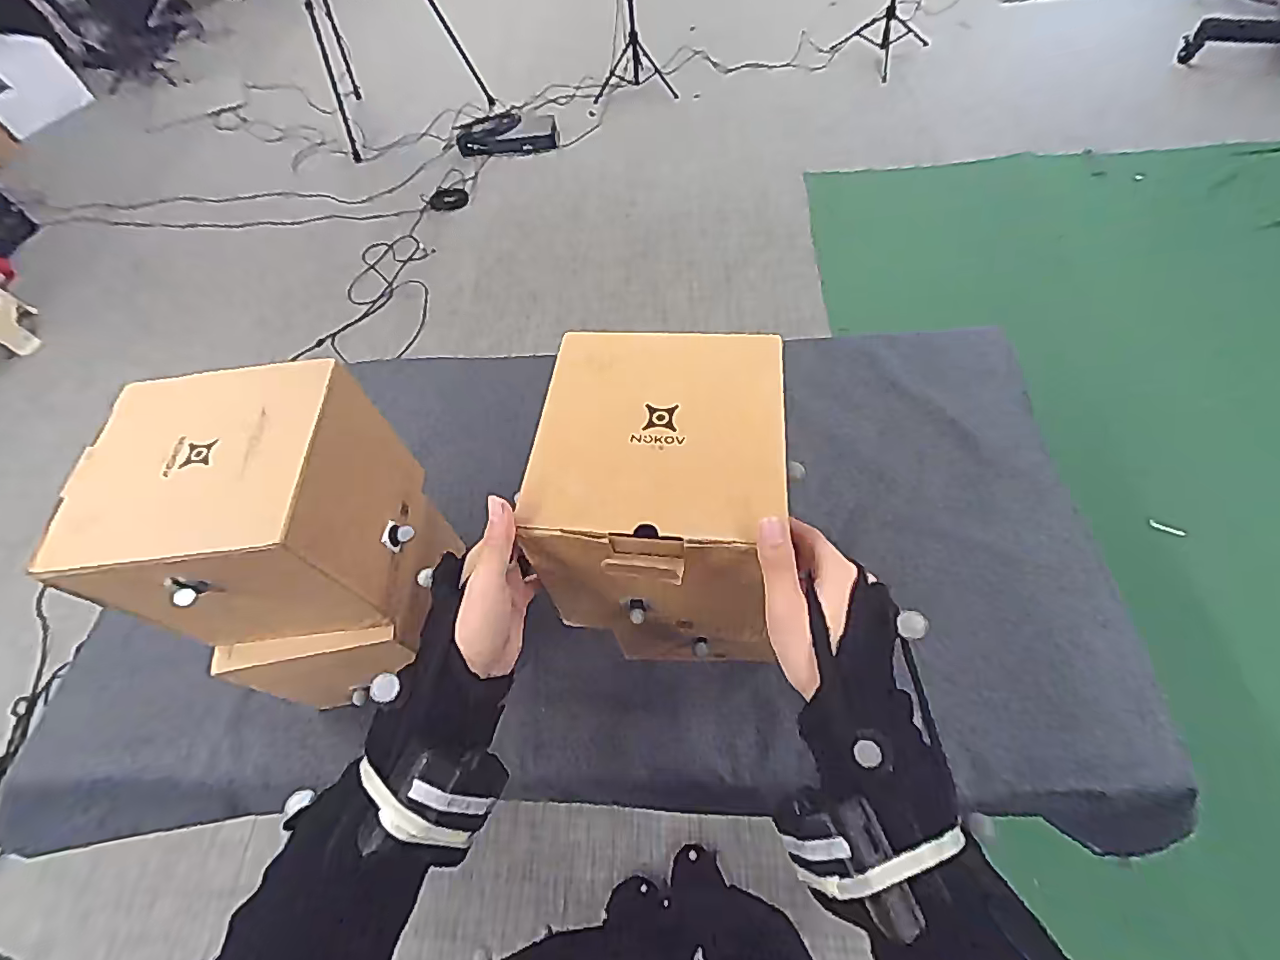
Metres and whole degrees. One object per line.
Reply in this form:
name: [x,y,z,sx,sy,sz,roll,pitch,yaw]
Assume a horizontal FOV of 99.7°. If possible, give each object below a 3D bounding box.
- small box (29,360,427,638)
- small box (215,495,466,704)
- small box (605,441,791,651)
small box: [-0.307,0.025,0.454,0.179,0.176,0.168,-6,58,1]
small box: [-0.297,0.124,0.584,0.168,0.176,0.179,-11,58,-1]
small box: [0.060,0.079,0.577,0.168,0.176,0.179,-2,58,5]
